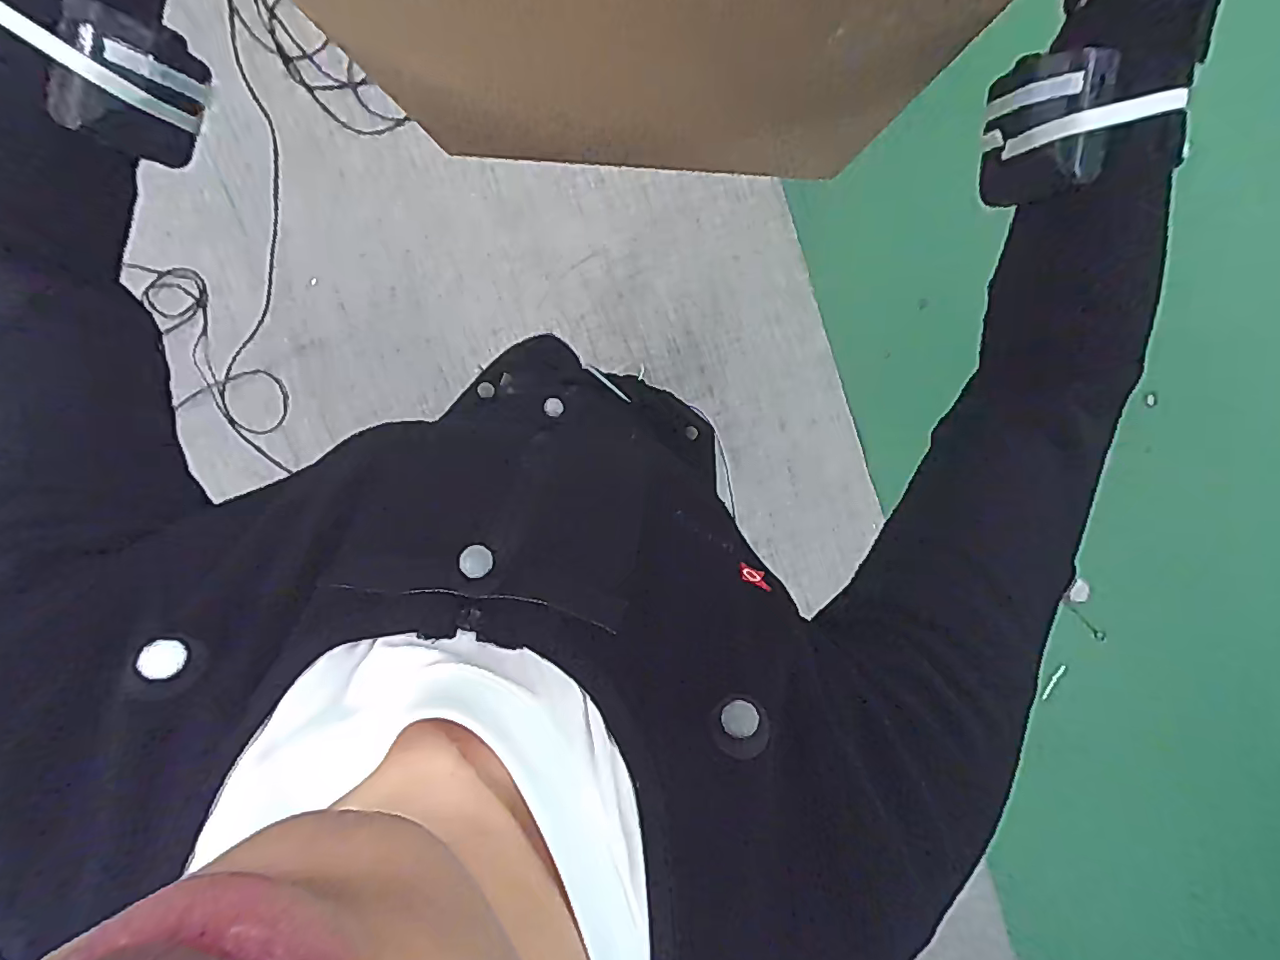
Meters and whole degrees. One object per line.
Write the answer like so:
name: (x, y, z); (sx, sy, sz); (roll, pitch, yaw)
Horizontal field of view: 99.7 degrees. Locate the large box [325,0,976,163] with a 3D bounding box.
large box: (0.005, -0.449, 0.379); (0.408, 0.320, 0.320); (3, 103, 0)
